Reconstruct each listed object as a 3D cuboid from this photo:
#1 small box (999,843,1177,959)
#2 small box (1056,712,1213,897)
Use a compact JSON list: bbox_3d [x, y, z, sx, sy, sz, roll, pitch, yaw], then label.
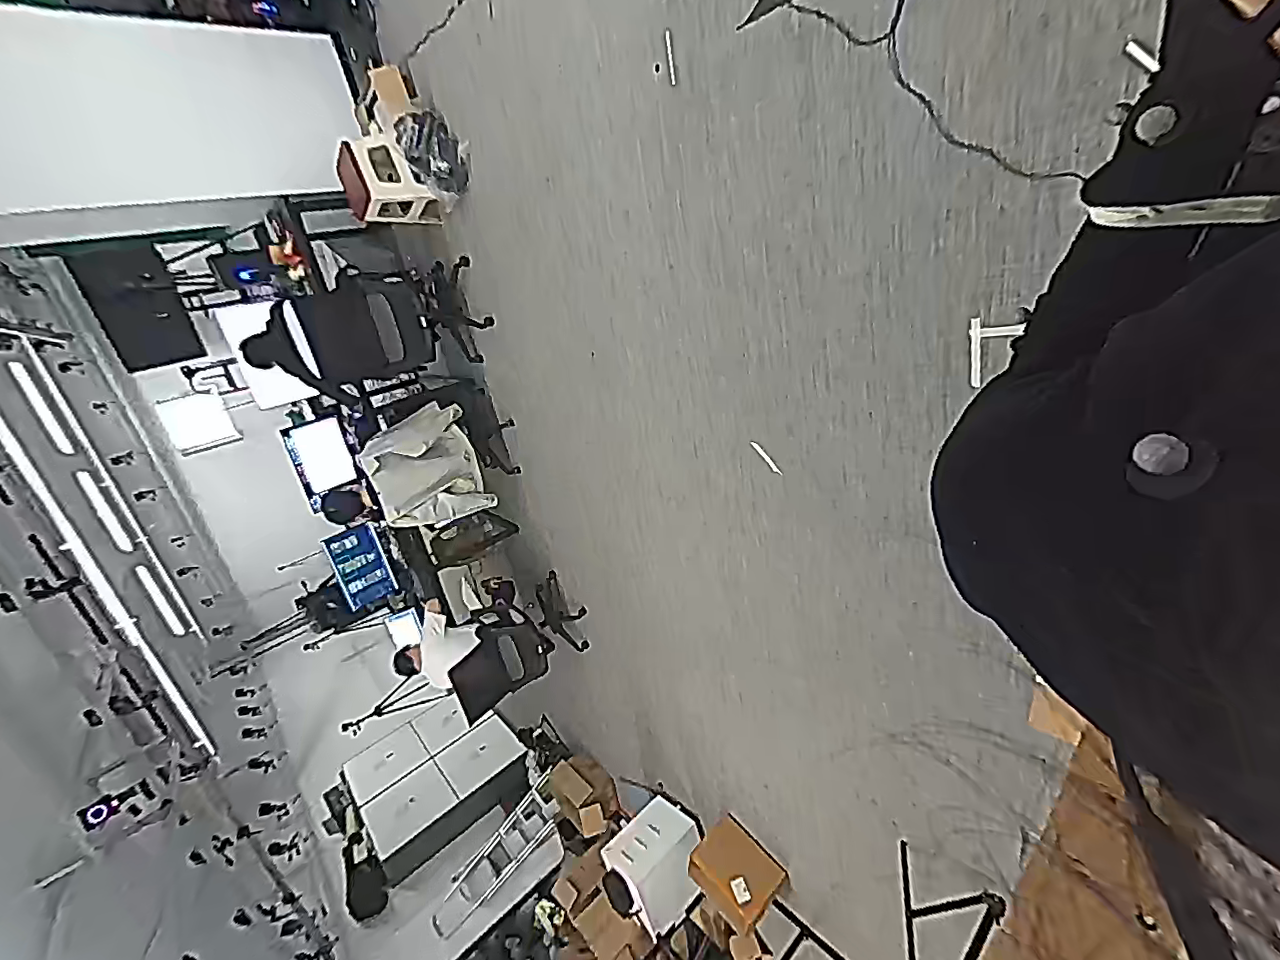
[{"bbox_3d":[0.616,0.670,0.760,0.168,0.176,0.179,18,125,47],"label":"small box"},{"bbox_3d":[0.861,0.553,0.944,0.168,0.176,0.179,15,122,48],"label":"small box"}]
